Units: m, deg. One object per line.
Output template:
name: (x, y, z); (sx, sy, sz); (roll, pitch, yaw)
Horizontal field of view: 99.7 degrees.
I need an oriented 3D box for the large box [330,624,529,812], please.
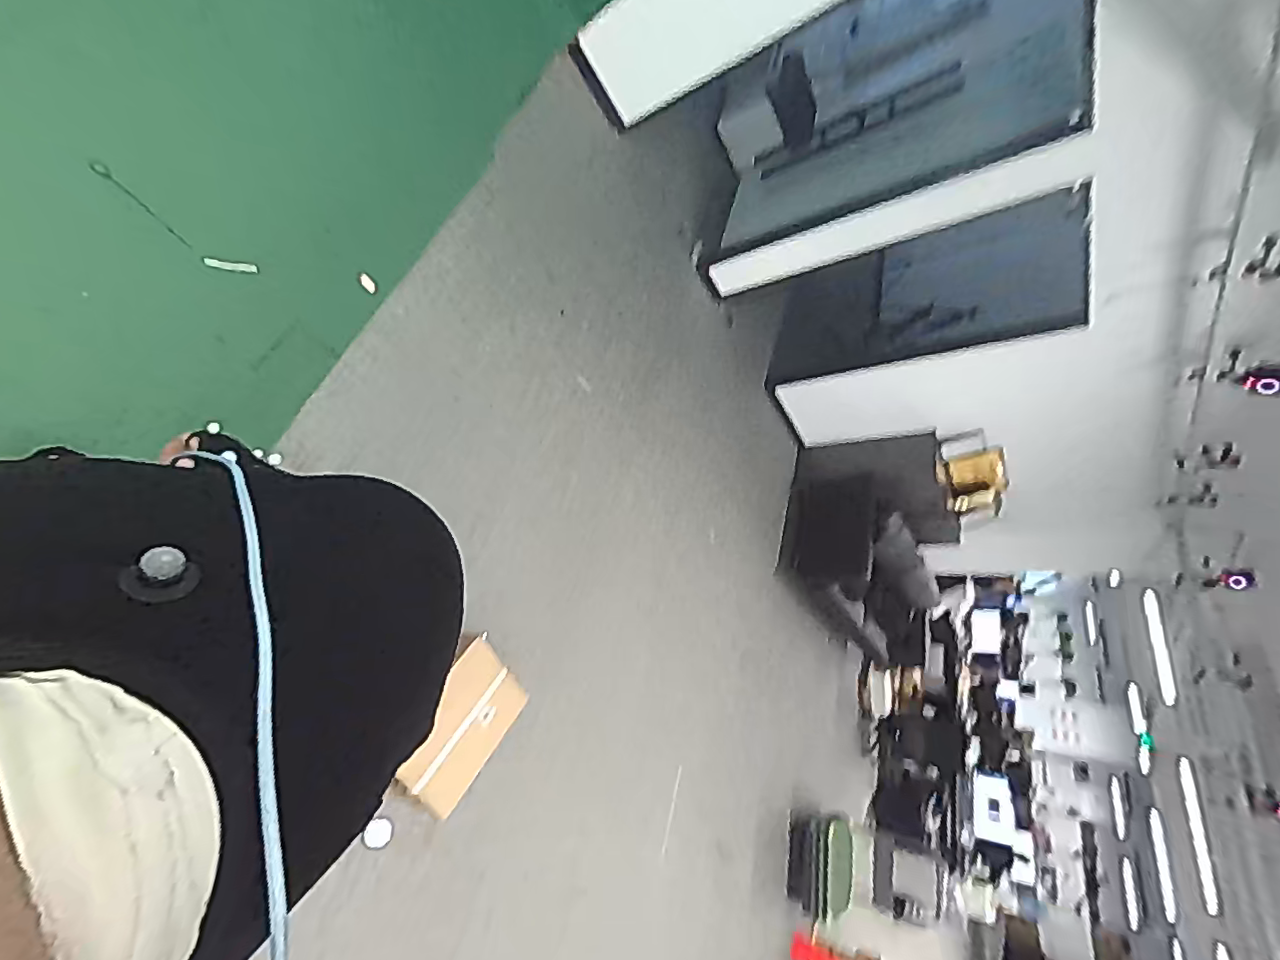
large box: (-0.626, 0.700, 1.649); (0.408, 0.320, 0.320); (-53, 126, -44)
